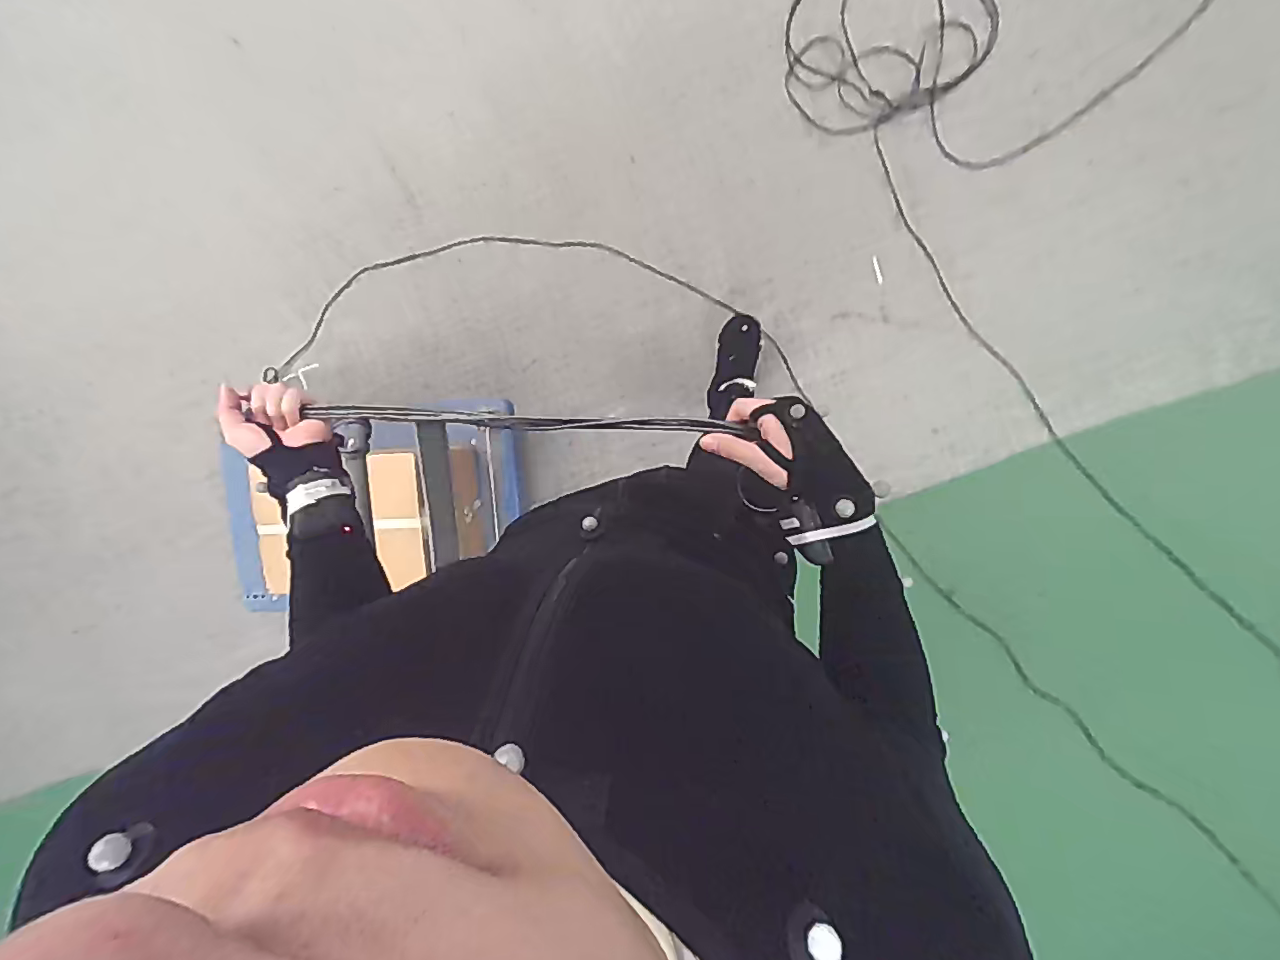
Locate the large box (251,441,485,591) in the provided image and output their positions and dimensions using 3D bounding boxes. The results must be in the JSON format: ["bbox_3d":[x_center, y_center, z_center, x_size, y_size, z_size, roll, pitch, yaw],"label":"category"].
[{"bbox_3d":[-0.648,0.076,1.350,0.408,0.320,0.320,-3,96,8],"label":"large box"}]
